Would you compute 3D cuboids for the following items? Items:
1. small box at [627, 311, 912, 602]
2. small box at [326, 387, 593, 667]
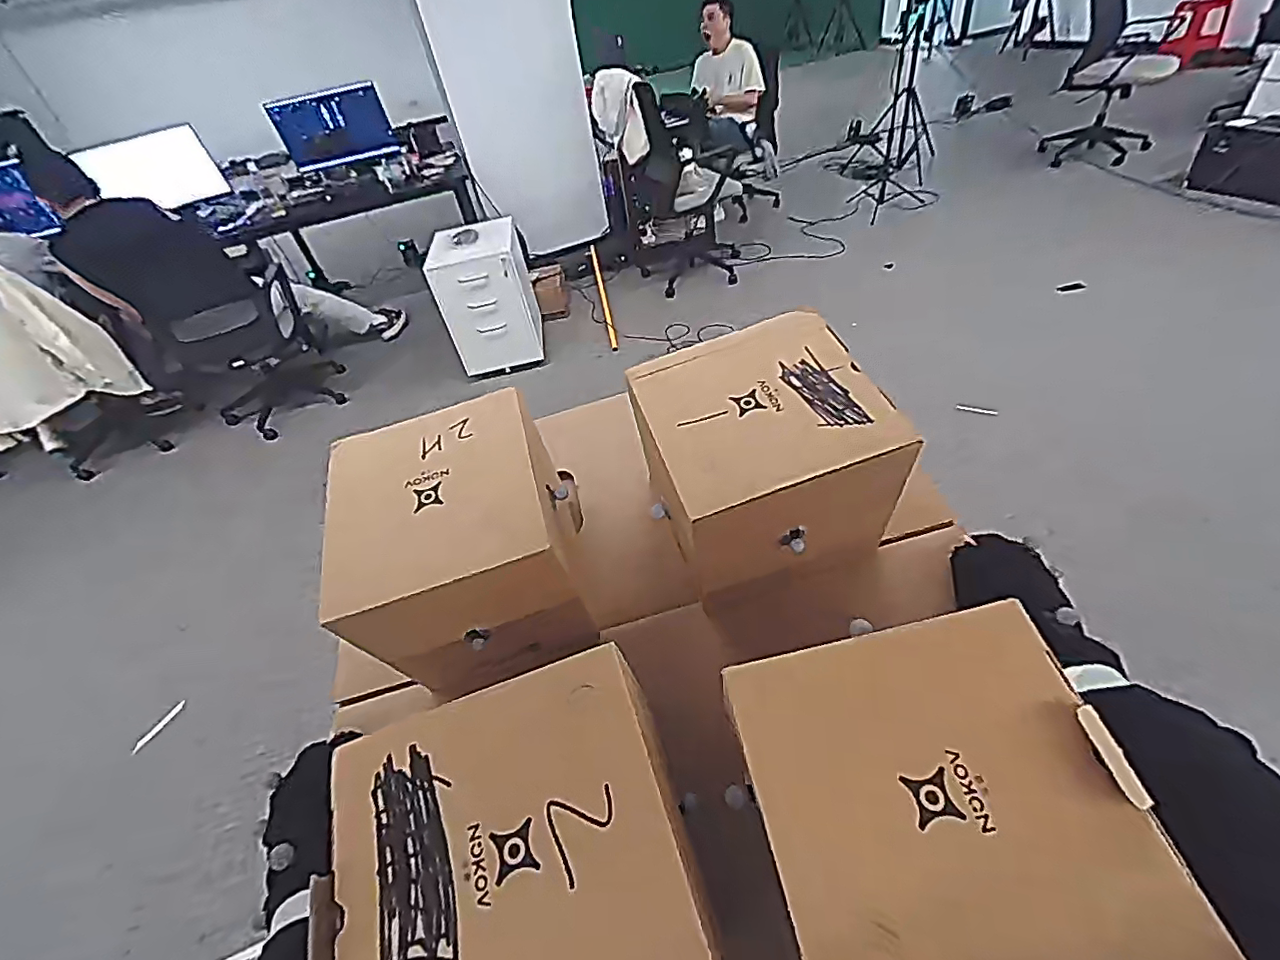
[{"bbox_3d":[0.103,-0.014,0.489,0.179,0.176,0.168,-19,55,-1],"label":"small box"},{"bbox_3d":[-0.150,0.053,0.490,0.168,0.176,0.179,-17,54,-2],"label":"small box"}]
